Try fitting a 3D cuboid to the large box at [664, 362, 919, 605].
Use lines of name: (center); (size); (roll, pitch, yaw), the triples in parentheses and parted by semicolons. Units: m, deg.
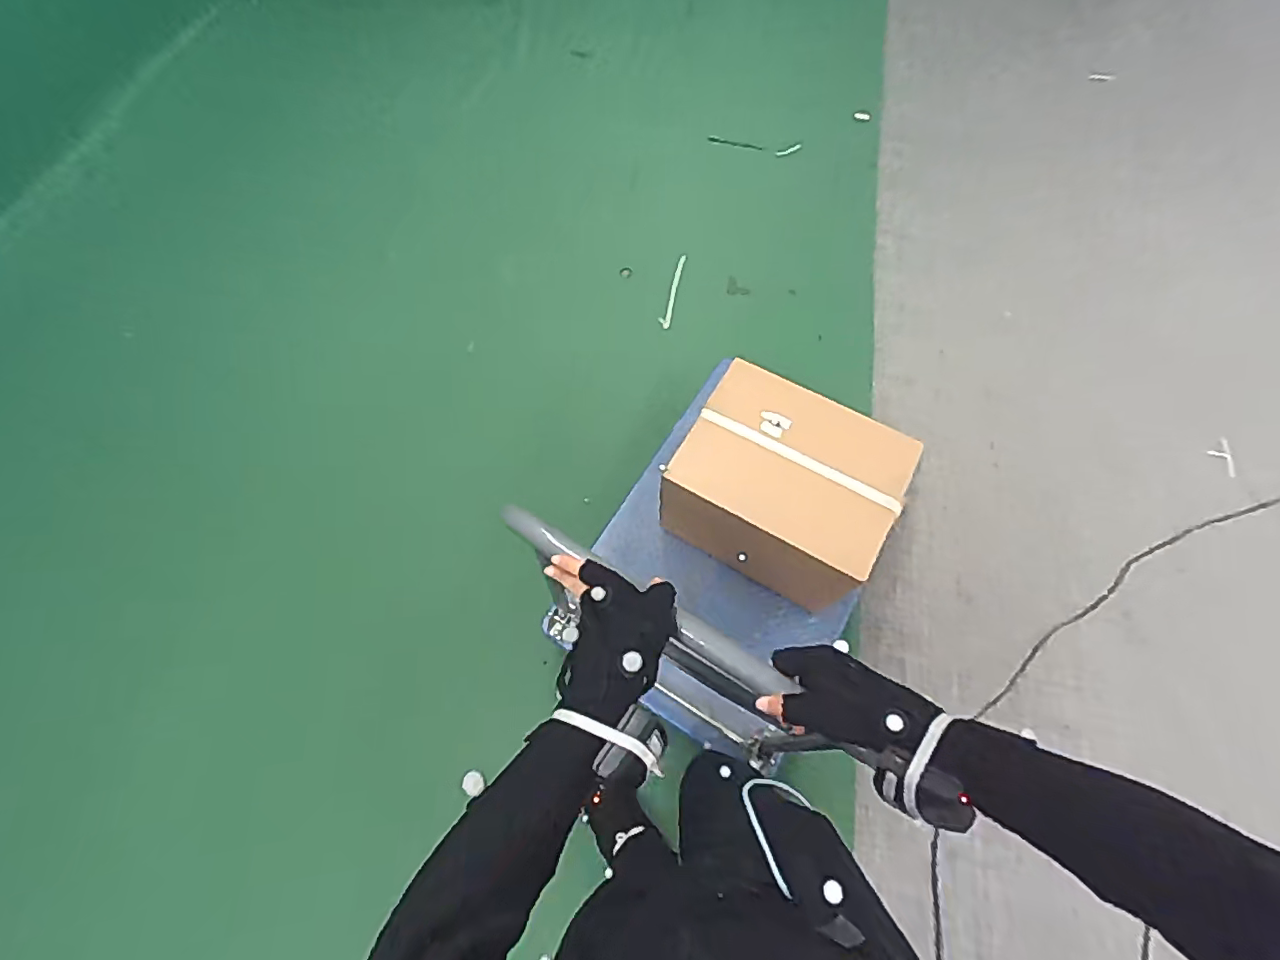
large box: (0.299, 0.020, 1.168); (0.408, 0.320, 0.320); (28, 70, 13)
